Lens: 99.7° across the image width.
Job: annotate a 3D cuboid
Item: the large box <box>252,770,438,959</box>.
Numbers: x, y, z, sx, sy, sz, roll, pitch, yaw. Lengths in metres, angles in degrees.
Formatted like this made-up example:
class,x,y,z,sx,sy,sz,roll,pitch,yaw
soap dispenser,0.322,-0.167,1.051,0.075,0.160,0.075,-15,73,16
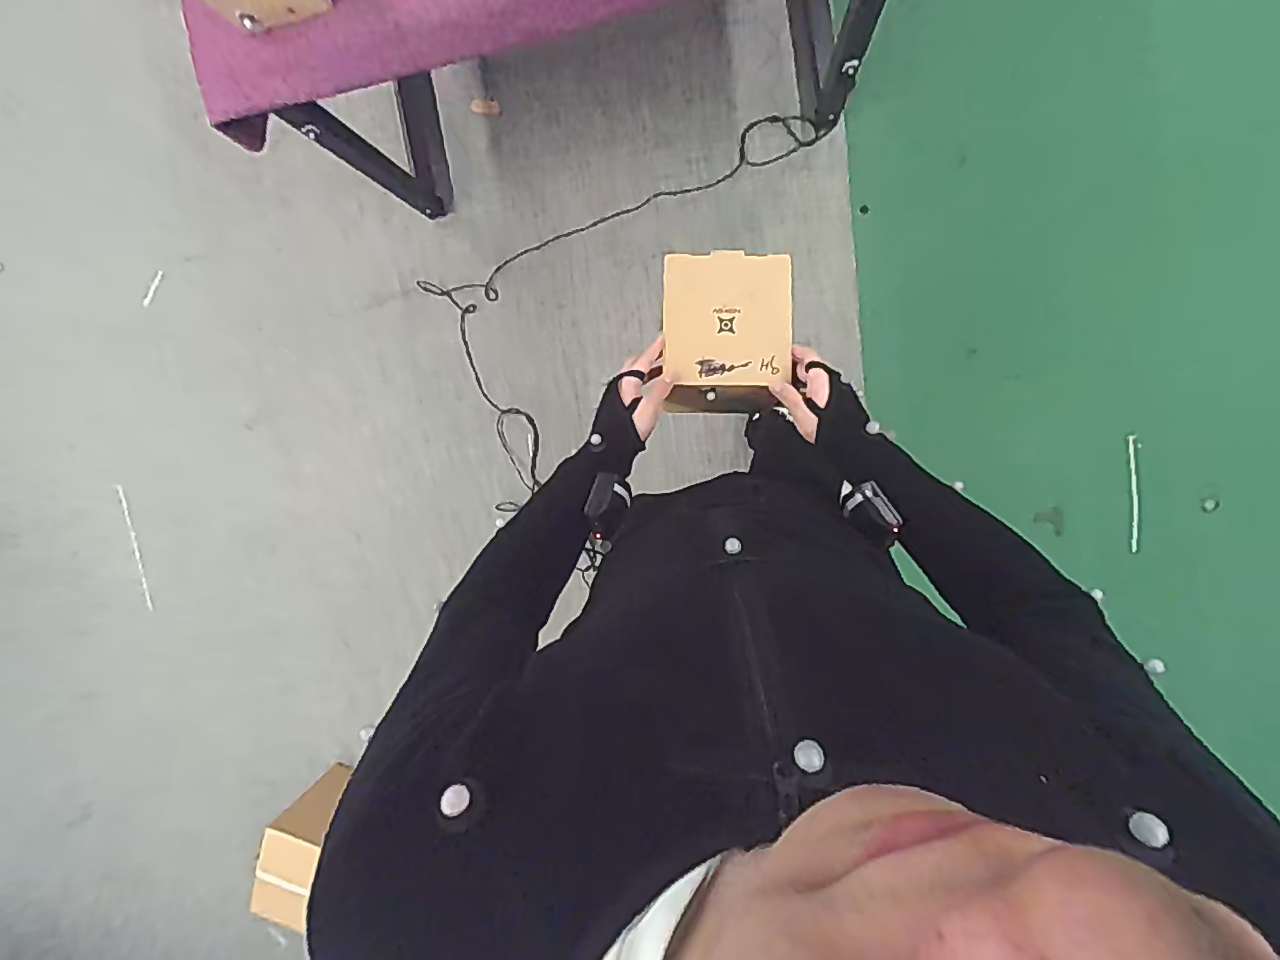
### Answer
class,x,y,z,sx,sy,sz,roll,pitch,yaw
large box,-0.944,1.230,1.764,0.408,0.320,0.320,16,99,5

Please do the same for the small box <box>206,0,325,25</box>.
class,x,y,z,sx,sy,sz,roll,pitch,yaw
small box,-0.597,-0.817,0.791,0.168,0.176,0.179,-7,95,8
